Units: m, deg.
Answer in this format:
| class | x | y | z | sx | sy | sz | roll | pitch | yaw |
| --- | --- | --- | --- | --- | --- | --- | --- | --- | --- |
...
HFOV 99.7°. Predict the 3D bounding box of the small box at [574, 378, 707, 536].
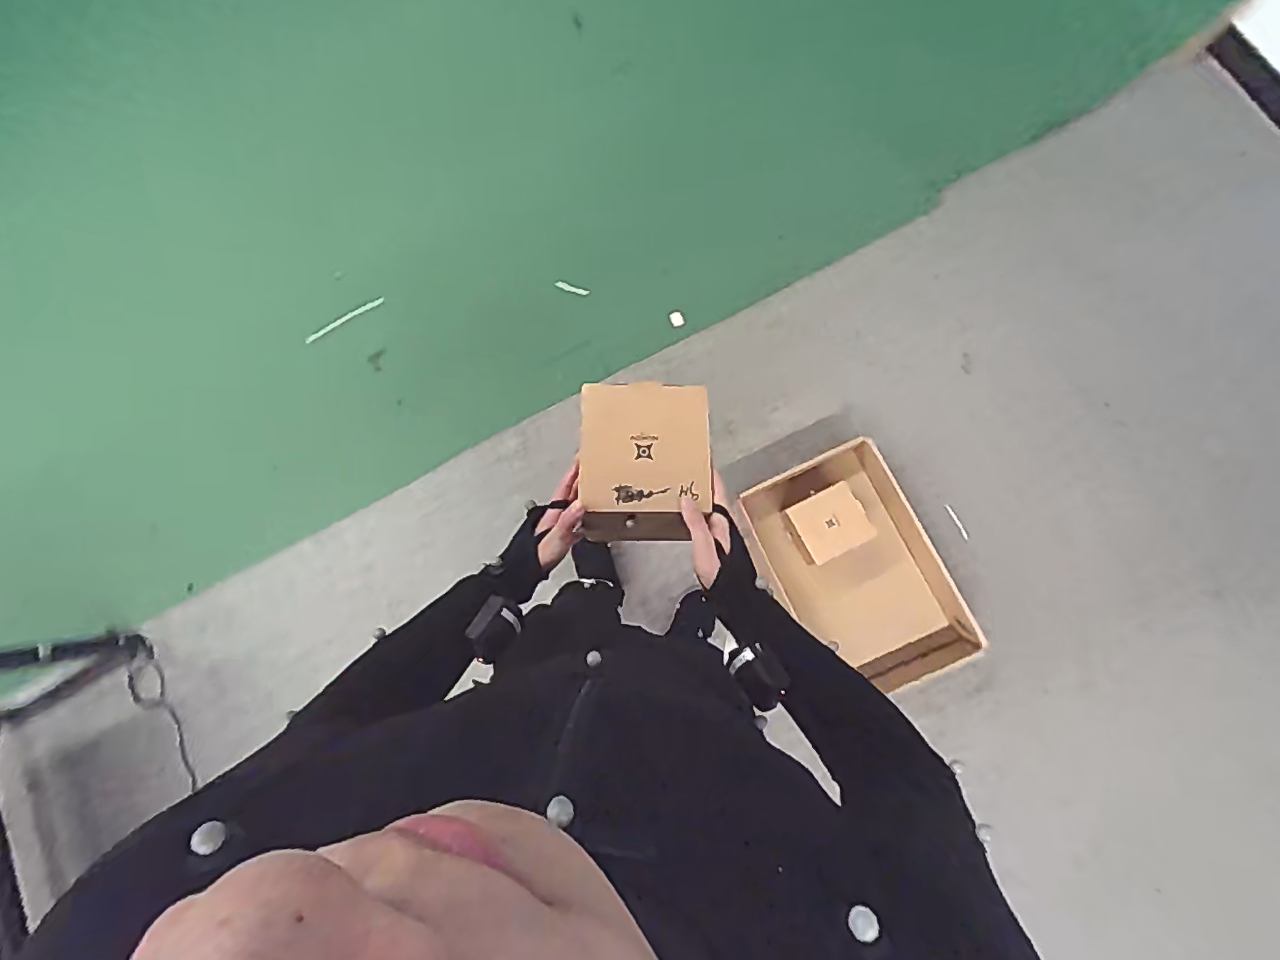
| class | x | y | z | sx | sy | sz | roll | pitch | yaw |
| --- | --- | --- | --- | --- | --- | --- | --- | --- | --- |
| small box | -0.003 | -0.025 | 0.753 | 0.168 | 0.176 | 0.179 | 0 | 73 | -2 |
